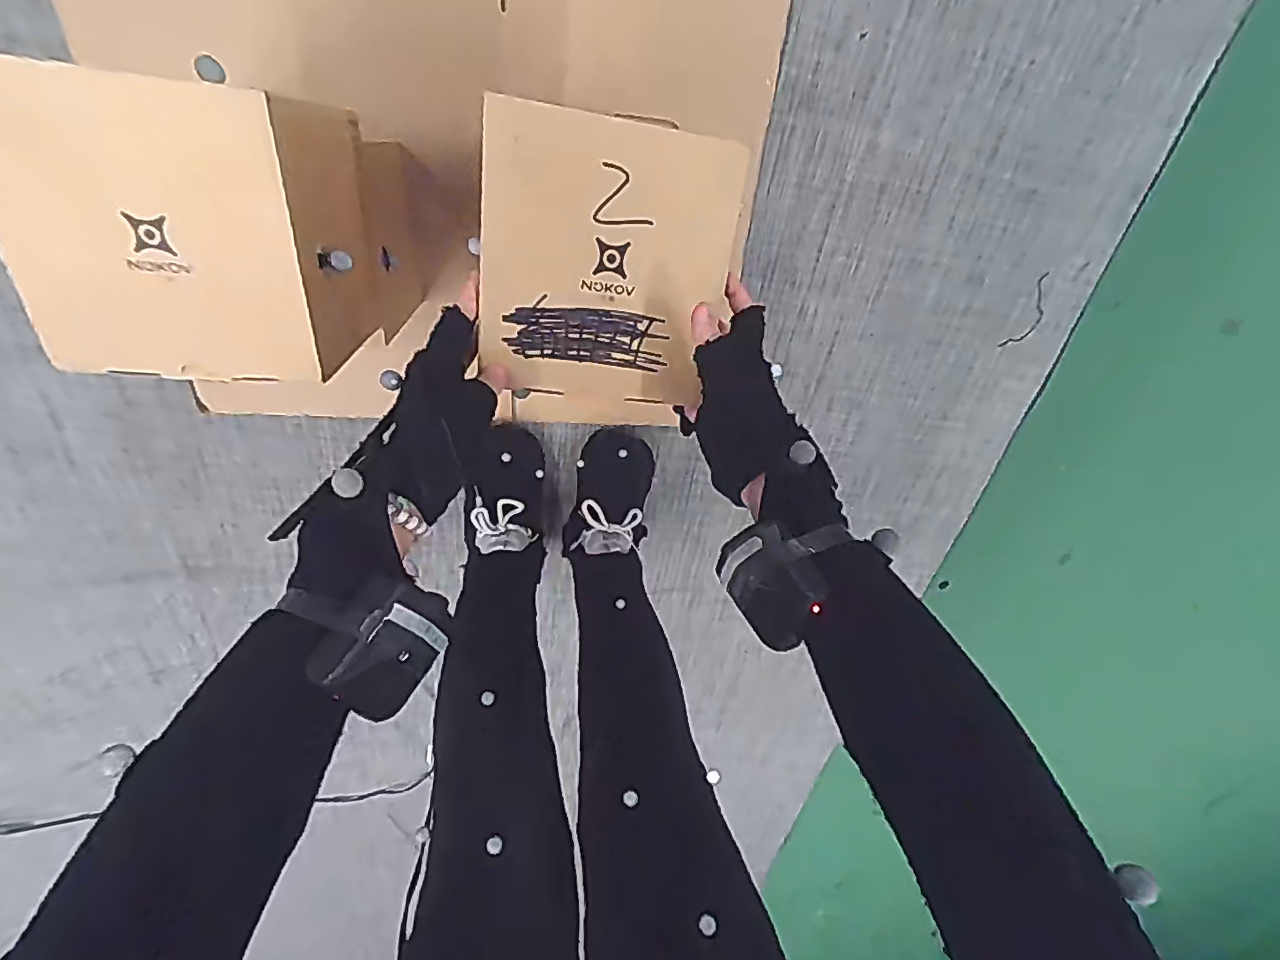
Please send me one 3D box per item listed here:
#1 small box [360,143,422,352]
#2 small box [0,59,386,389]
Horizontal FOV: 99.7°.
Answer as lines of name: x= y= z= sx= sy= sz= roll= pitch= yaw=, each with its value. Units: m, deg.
small box: x=-0.331 y=-0.244 z=0.551 sx=0.168 sy=0.176 sz=0.179 roll=-1 pitch=122 yaw=-9
small box: x=-0.302 y=-0.183 z=0.400 sx=0.168 sy=0.176 sz=0.179 roll=1 pitch=122 yaw=-11
